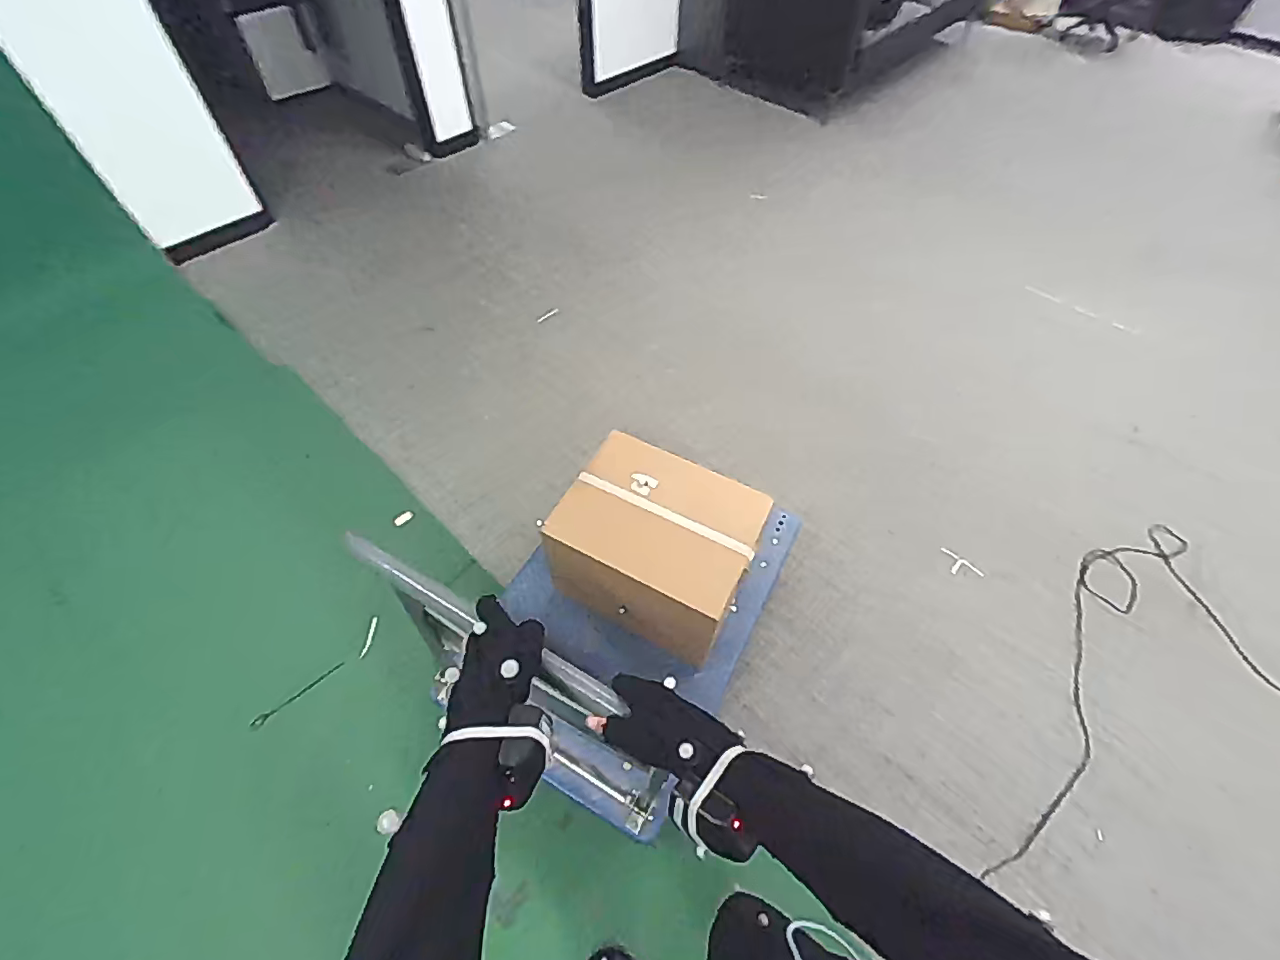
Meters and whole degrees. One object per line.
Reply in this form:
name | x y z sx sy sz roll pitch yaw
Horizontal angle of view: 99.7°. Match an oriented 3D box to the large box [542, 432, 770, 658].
large box | 0.041 0.154 1.263 0.408 0.320 0.320 24 57 15
